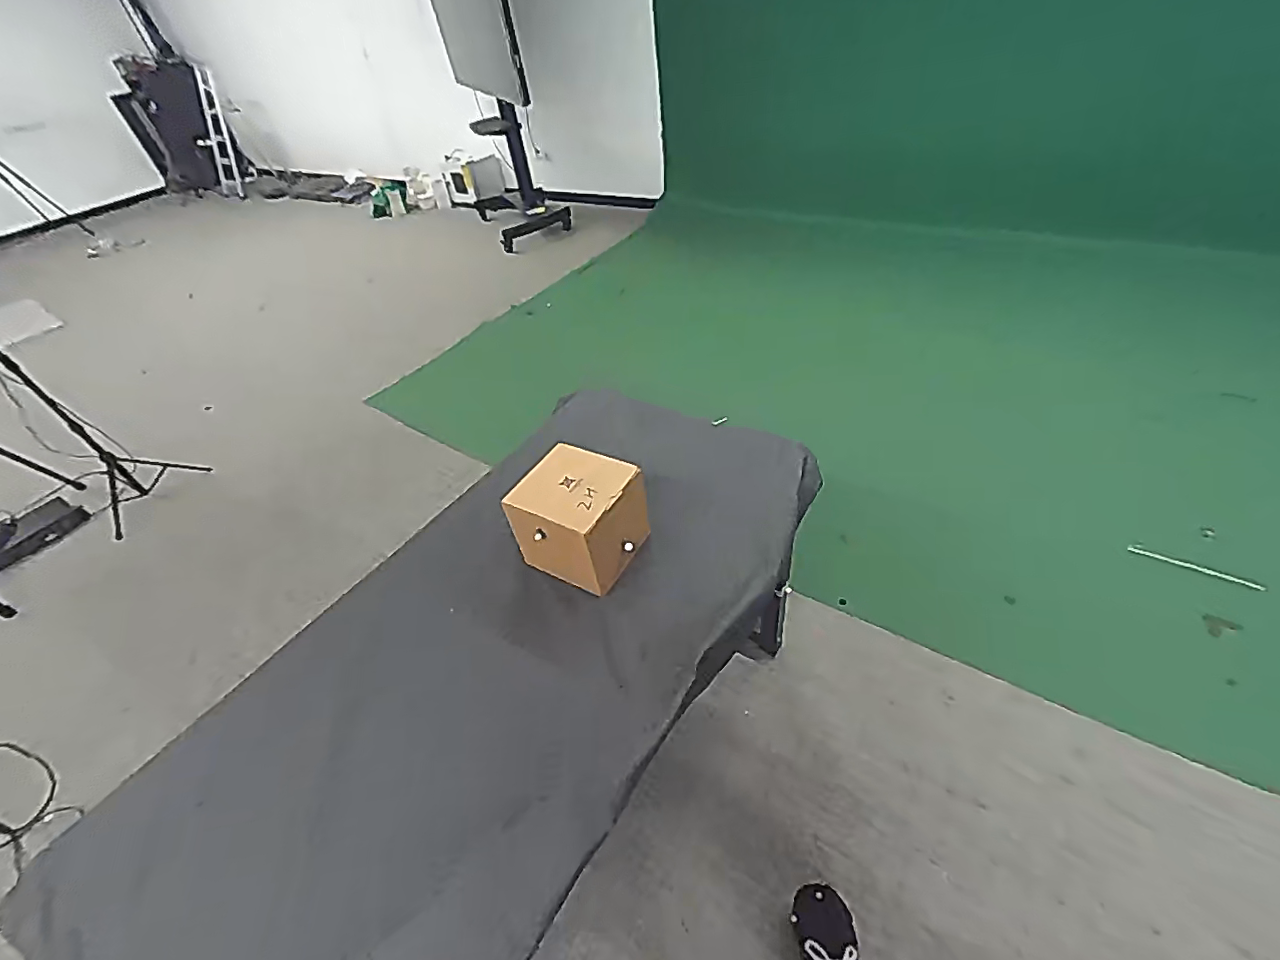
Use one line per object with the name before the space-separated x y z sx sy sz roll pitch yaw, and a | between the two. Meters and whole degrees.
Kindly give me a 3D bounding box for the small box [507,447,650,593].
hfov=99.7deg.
small box | -0.100 0.071 0.958 0.179 0.176 0.168 19 50 27
